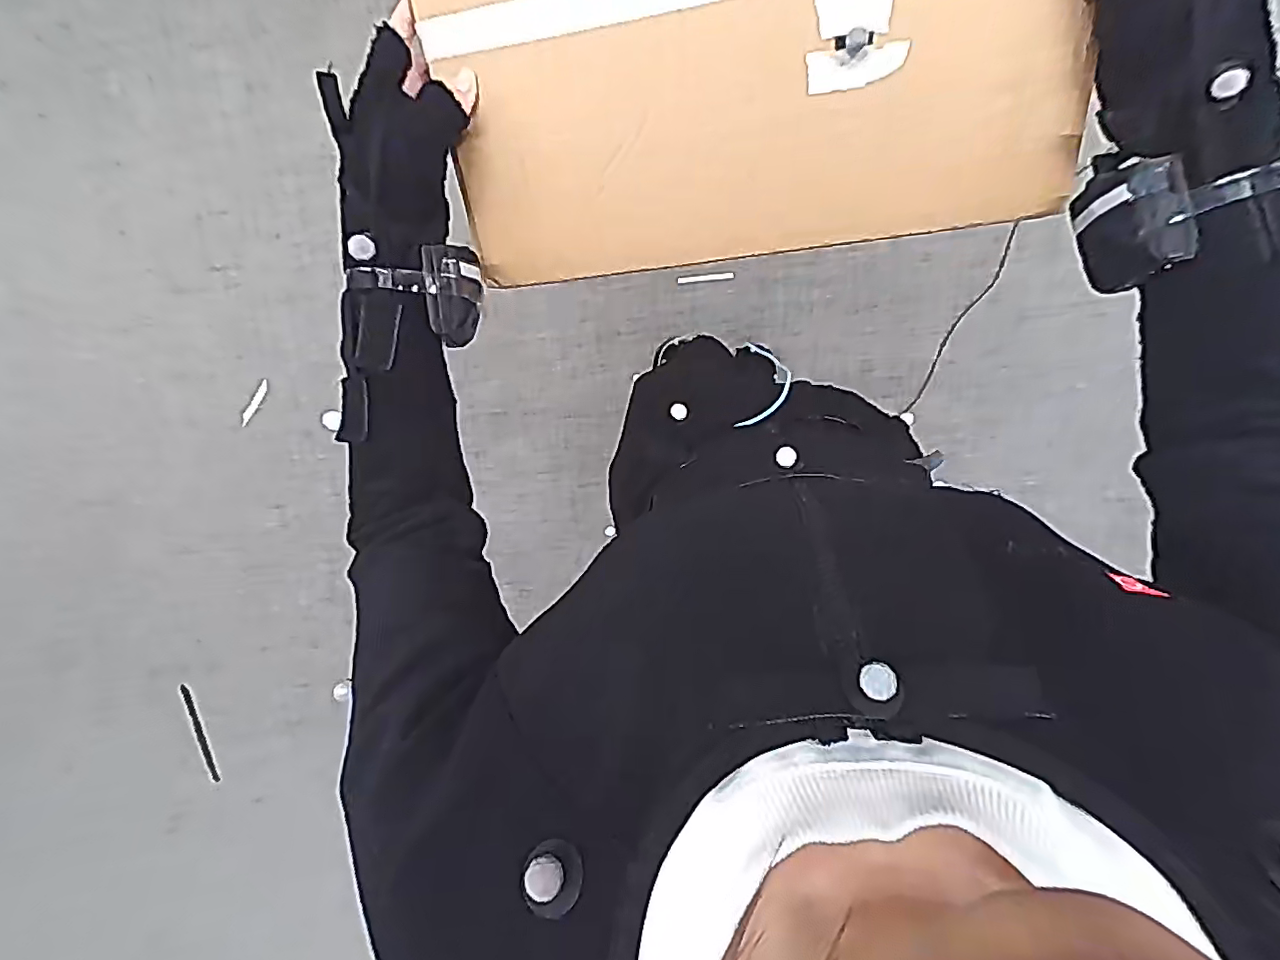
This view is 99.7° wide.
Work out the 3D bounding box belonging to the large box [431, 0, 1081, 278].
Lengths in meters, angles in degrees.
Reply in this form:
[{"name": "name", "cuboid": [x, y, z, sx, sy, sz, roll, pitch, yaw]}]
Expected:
[{"name": "large box", "cuboid": [0.075, -0.380, 0.462, 0.408, 0.320, 0.320, -4, 117, 9]}]
